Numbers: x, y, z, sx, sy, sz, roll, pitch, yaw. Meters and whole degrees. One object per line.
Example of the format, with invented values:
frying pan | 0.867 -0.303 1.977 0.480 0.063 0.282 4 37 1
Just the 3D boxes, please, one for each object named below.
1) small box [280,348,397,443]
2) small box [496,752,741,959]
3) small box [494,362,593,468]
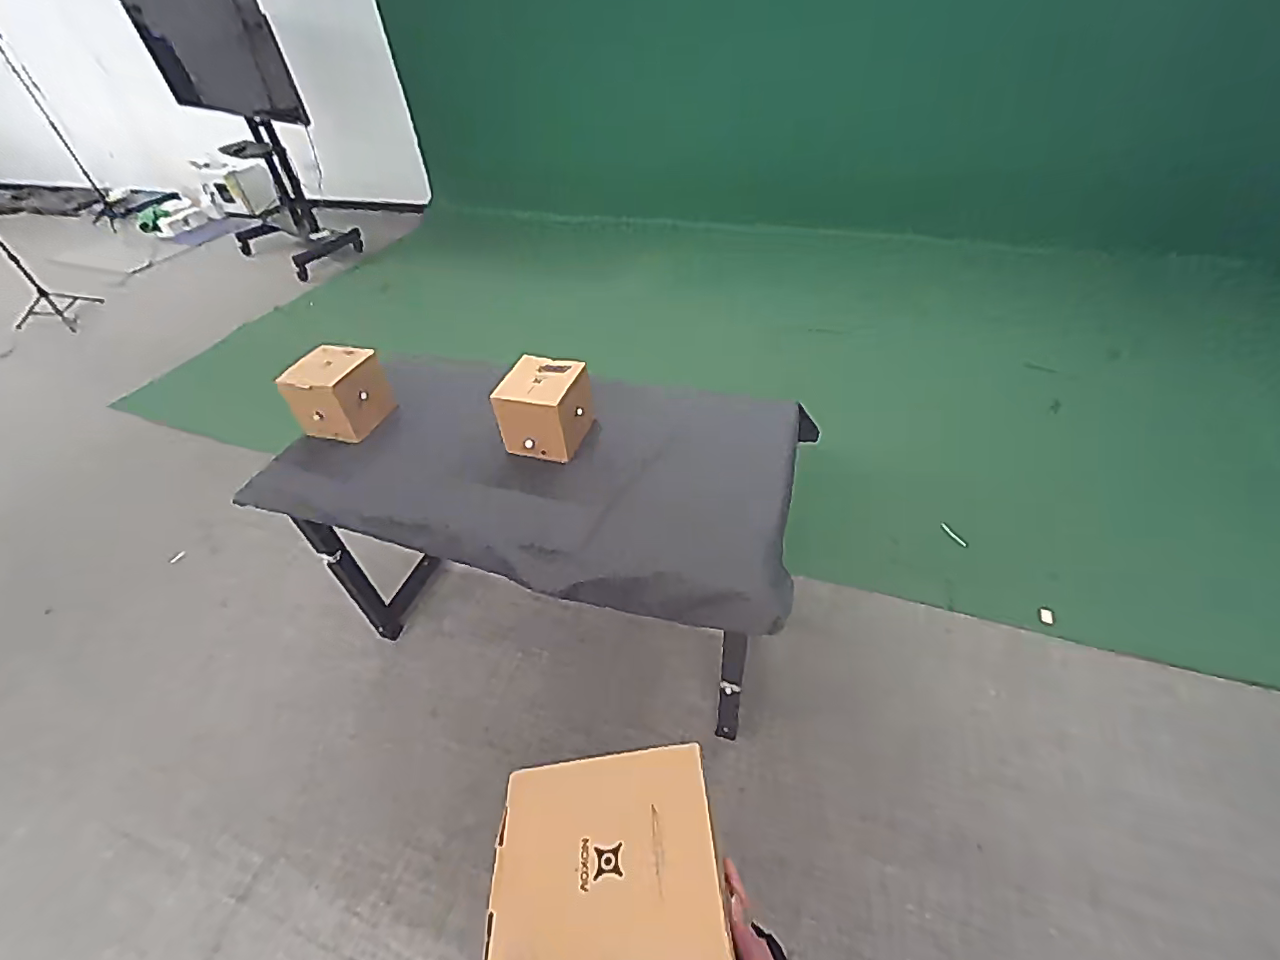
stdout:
small box | -0.761 -0.215 1.388 0.168 0.176 0.179 10 46 13
small box | -0.010 0.370 0.472 0.179 0.176 0.168 -9 36 1
small box | -0.220 -0.156 1.292 0.168 0.176 0.179 11 46 15
